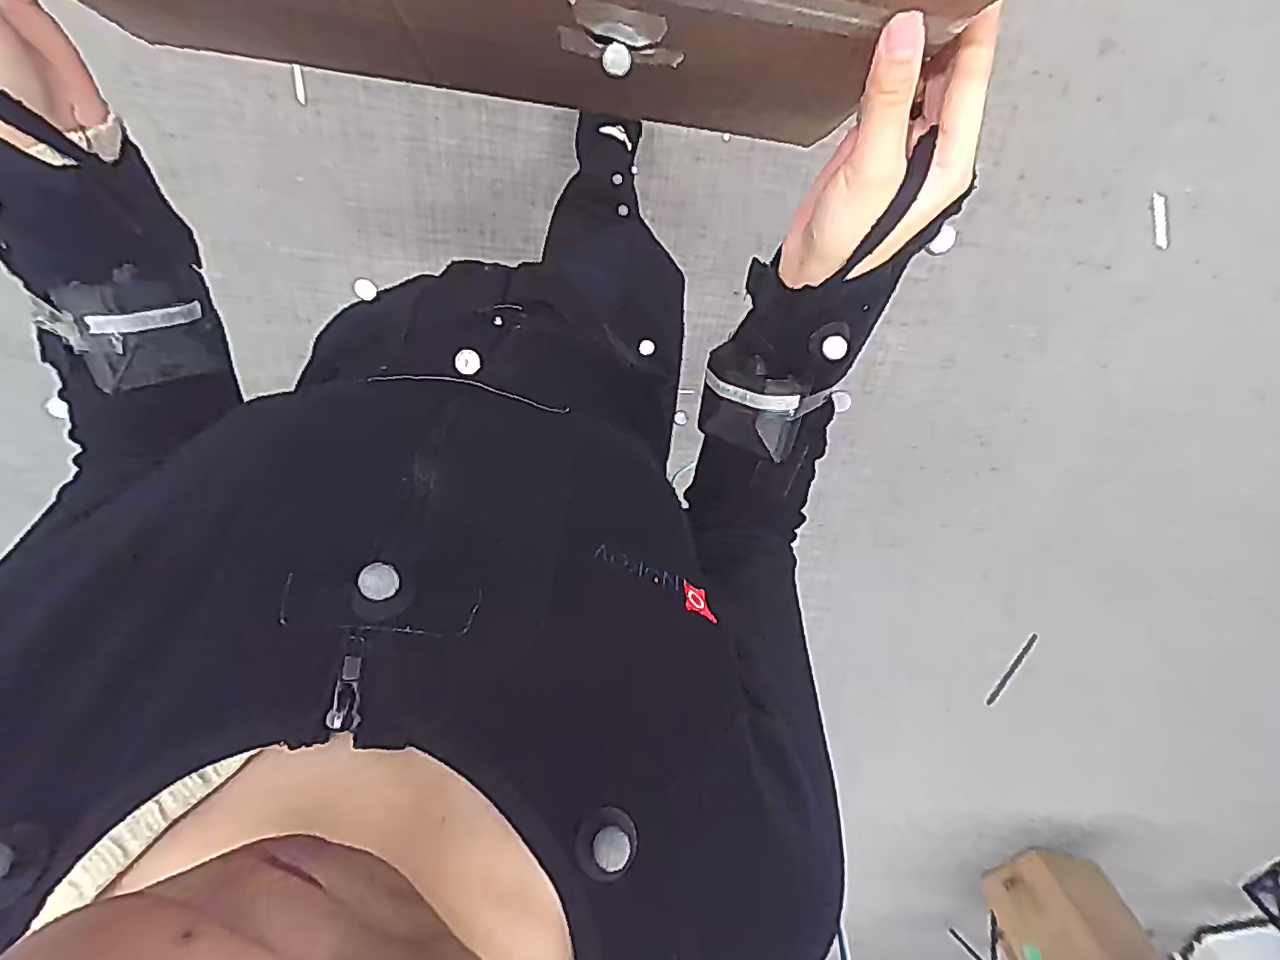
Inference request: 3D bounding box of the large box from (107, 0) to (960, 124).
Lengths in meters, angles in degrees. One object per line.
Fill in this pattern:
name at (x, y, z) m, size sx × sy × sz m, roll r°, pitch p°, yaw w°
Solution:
large box at (-0.055, -0.351, 0.154) m, size 0.408 × 0.320 × 0.320 m, roll 3°, pitch 107°, yaw -7°
